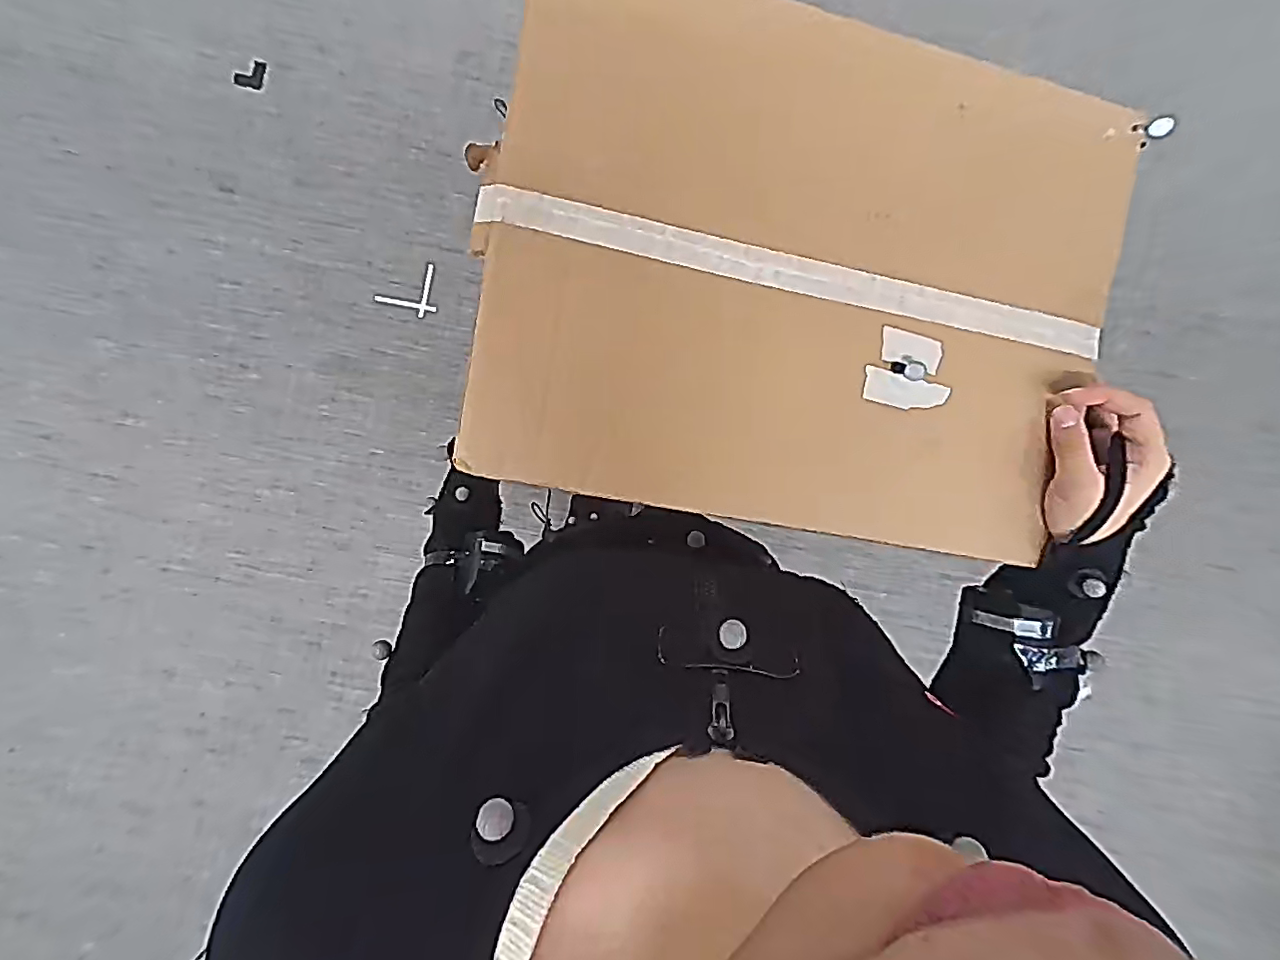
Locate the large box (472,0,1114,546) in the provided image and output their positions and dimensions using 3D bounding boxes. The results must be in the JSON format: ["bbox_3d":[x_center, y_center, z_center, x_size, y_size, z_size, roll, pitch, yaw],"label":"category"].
[{"bbox_3d":[0.088,-0.142,0.494,0.408,0.320,0.320,9,94,-10],"label":"large box"}]
